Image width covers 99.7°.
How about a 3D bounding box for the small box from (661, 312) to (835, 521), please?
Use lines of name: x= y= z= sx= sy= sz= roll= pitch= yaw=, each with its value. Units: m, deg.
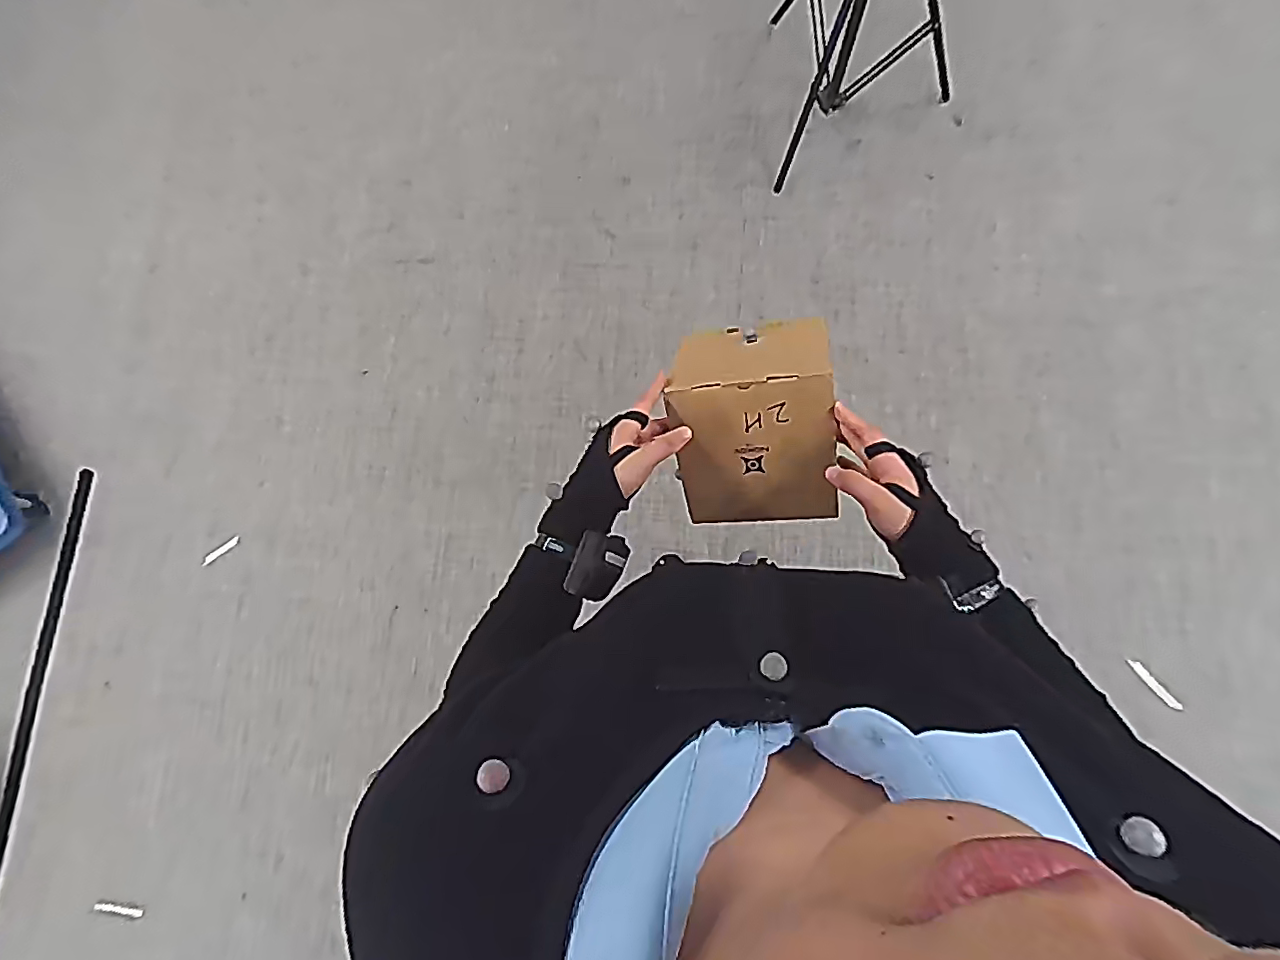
small box: x=0.133 y=-0.073 z=0.625 sx=0.168 sy=0.176 sz=0.179 roll=-4 pitch=123 yaw=17
